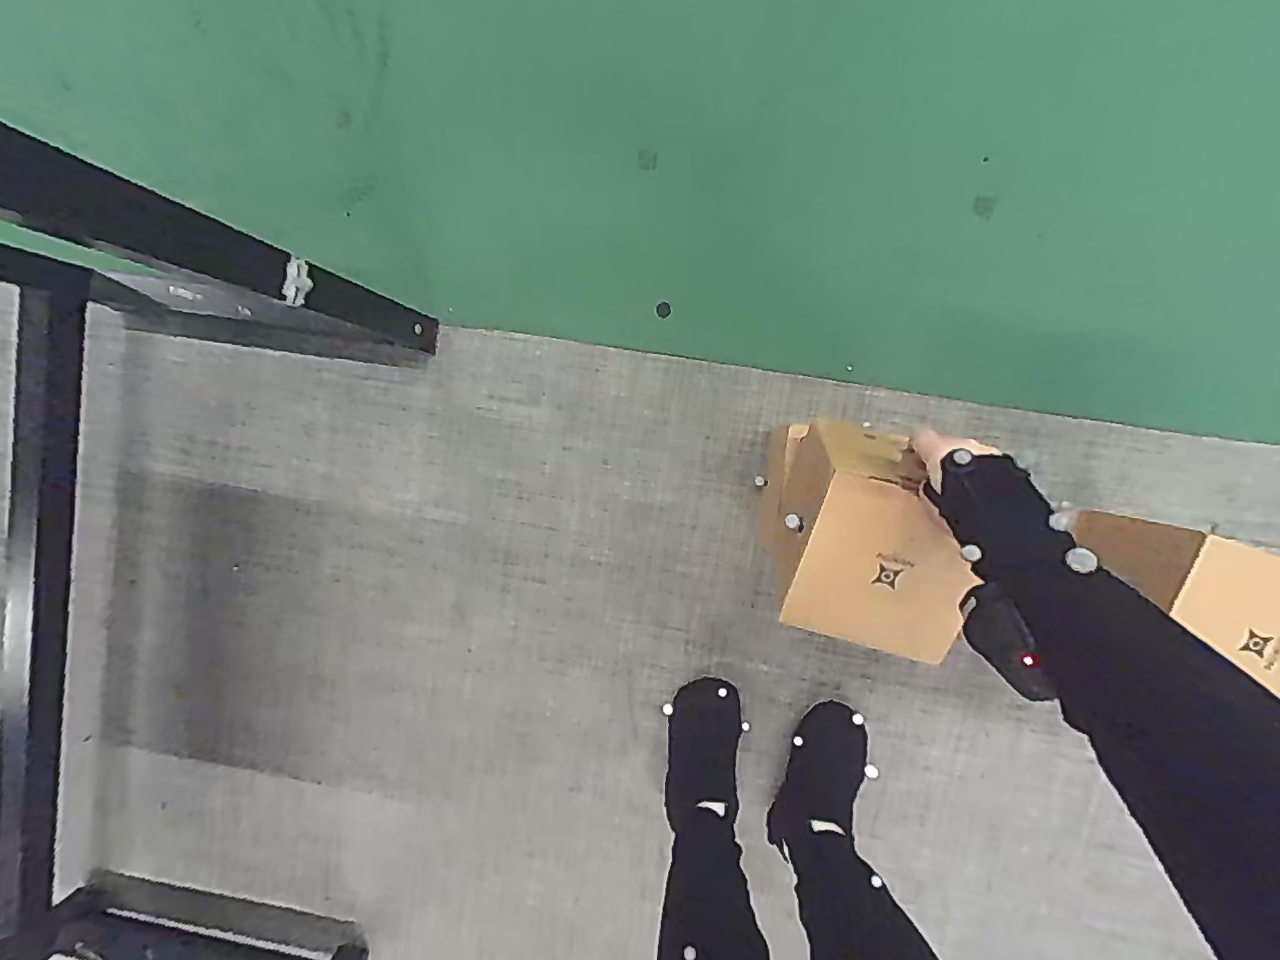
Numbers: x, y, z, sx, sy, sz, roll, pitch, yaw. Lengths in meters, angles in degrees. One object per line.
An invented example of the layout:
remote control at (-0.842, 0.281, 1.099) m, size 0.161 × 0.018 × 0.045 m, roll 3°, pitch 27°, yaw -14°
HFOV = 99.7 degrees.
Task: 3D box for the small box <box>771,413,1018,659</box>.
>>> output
small box at (0.244, 0.048, 0.574) m, size 0.168 × 0.176 × 0.179 m, roll 15°, pitch 114°, yaw 5°

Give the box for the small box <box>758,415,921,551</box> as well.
small box at (0.262, 0.008, 0.754) m, size 0.168 × 0.176 × 0.179 m, roll 7°, pitch 95°, yaw 5°
